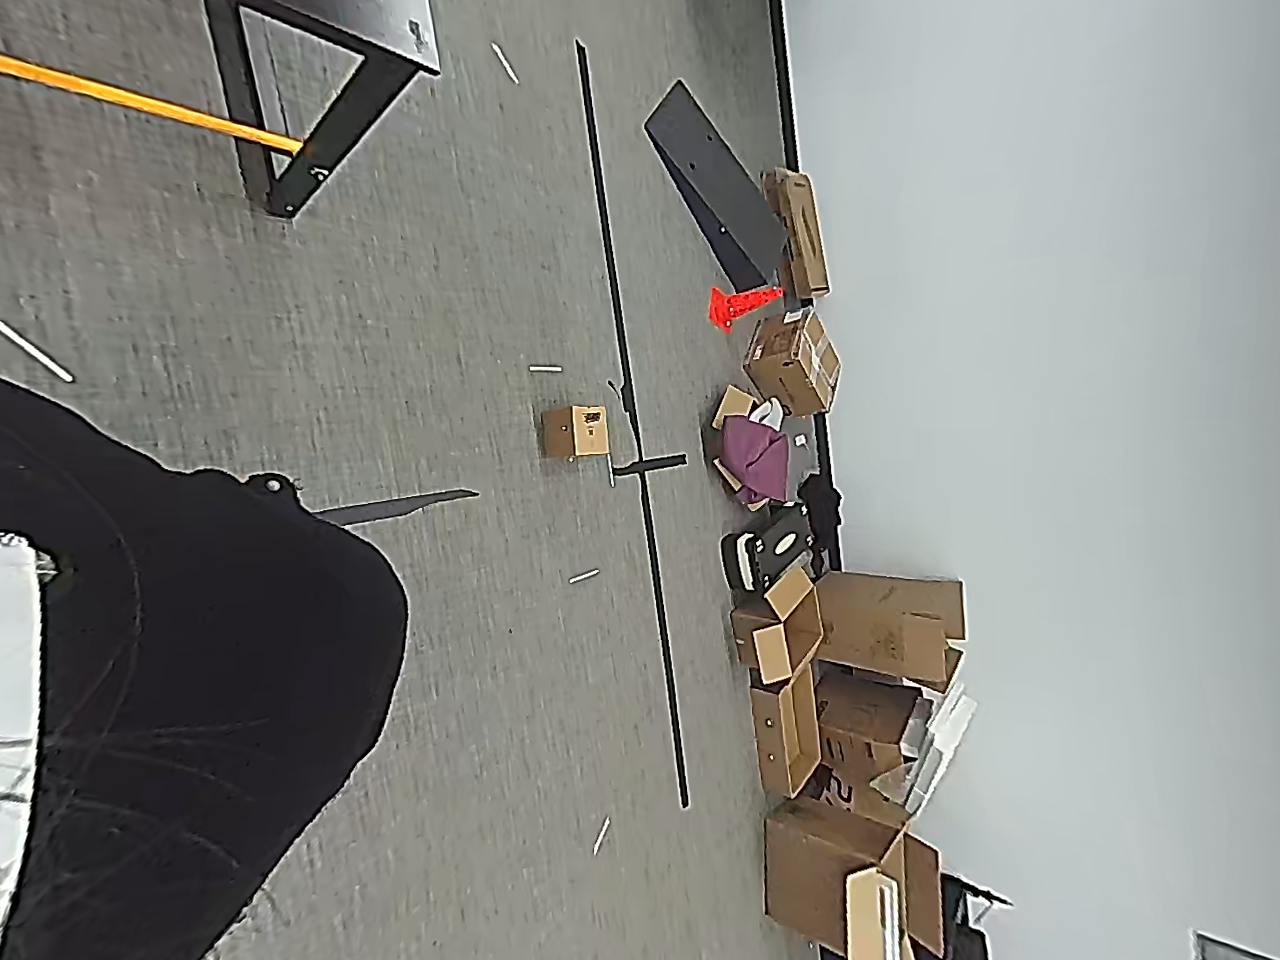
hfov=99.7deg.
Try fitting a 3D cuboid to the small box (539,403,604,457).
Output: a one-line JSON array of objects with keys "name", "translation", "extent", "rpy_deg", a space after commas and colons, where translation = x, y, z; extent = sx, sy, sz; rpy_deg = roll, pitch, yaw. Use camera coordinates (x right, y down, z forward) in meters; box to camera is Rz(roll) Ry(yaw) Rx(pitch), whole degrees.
[{"name": "small box", "translation": [-0.254, -0.181, 1.977], "extent": [0.168, 0.176, 0.179], "rpy_deg": [-7, 93, -49]}]
